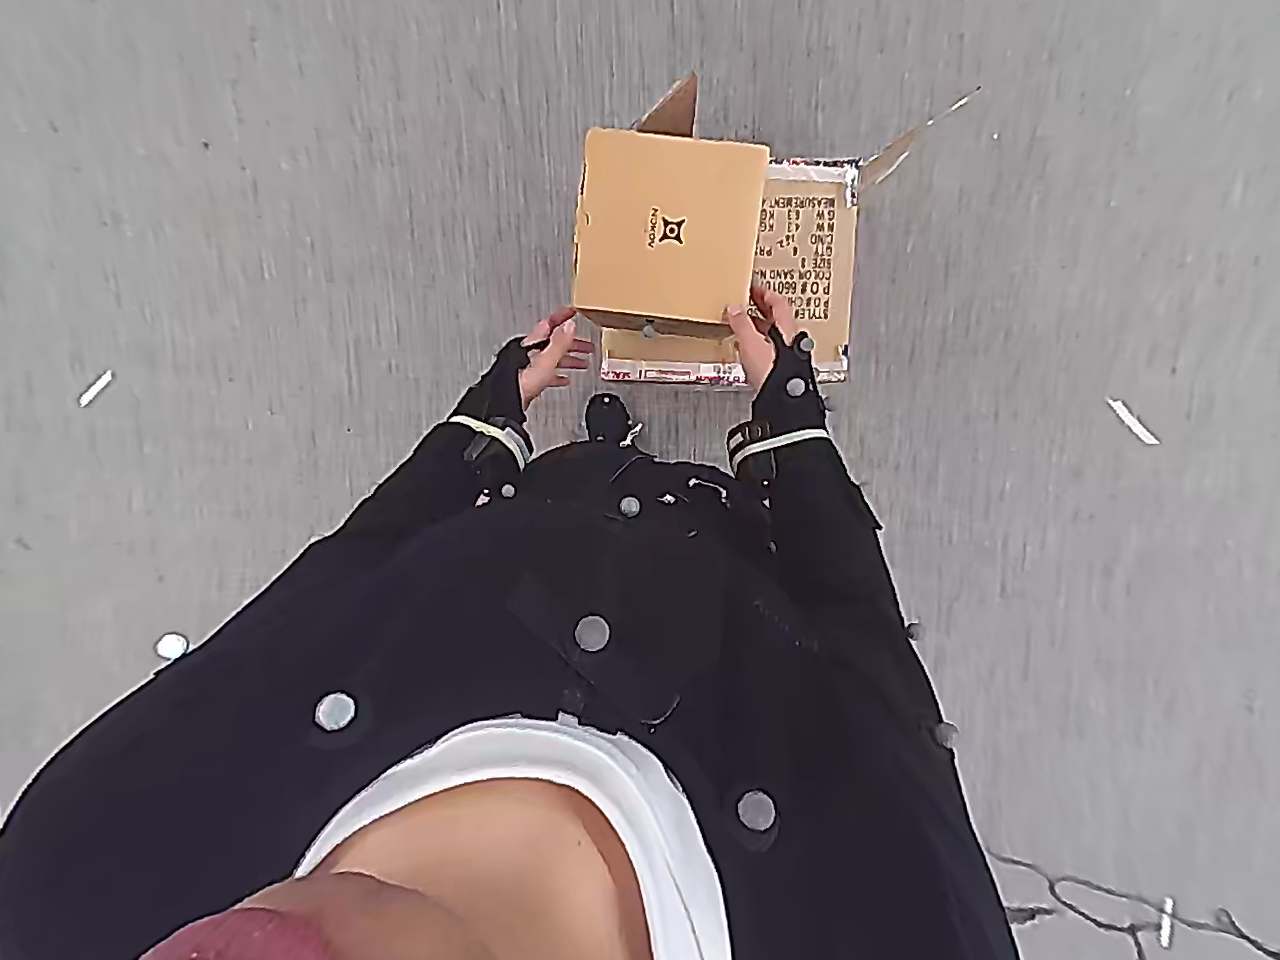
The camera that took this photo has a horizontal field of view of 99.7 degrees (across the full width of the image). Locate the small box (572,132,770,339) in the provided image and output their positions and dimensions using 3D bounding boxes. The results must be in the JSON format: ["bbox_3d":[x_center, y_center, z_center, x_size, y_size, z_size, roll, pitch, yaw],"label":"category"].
[{"bbox_3d":[0.032,-0.254,0.602,0.179,0.176,0.168,7,100,3],"label":"small box"}]
